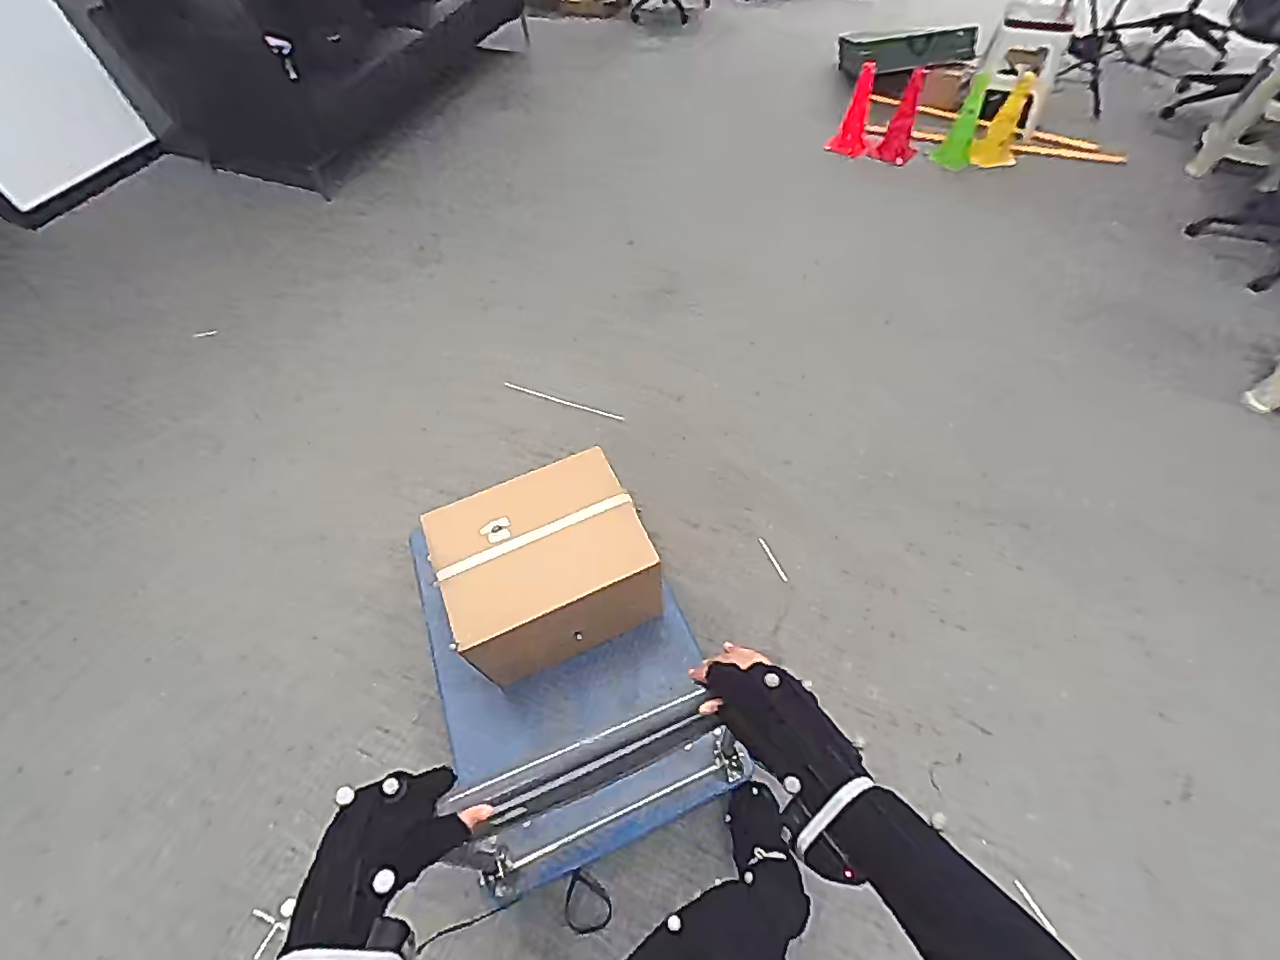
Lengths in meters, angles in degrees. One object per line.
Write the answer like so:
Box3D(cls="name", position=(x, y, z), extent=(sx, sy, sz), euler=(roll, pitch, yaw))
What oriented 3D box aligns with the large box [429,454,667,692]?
Box3D(cls="large box", position=(-0.185, 0.211, 1.205), extent=(0.408, 0.320, 0.320), euler=(-24, 58, -11))
